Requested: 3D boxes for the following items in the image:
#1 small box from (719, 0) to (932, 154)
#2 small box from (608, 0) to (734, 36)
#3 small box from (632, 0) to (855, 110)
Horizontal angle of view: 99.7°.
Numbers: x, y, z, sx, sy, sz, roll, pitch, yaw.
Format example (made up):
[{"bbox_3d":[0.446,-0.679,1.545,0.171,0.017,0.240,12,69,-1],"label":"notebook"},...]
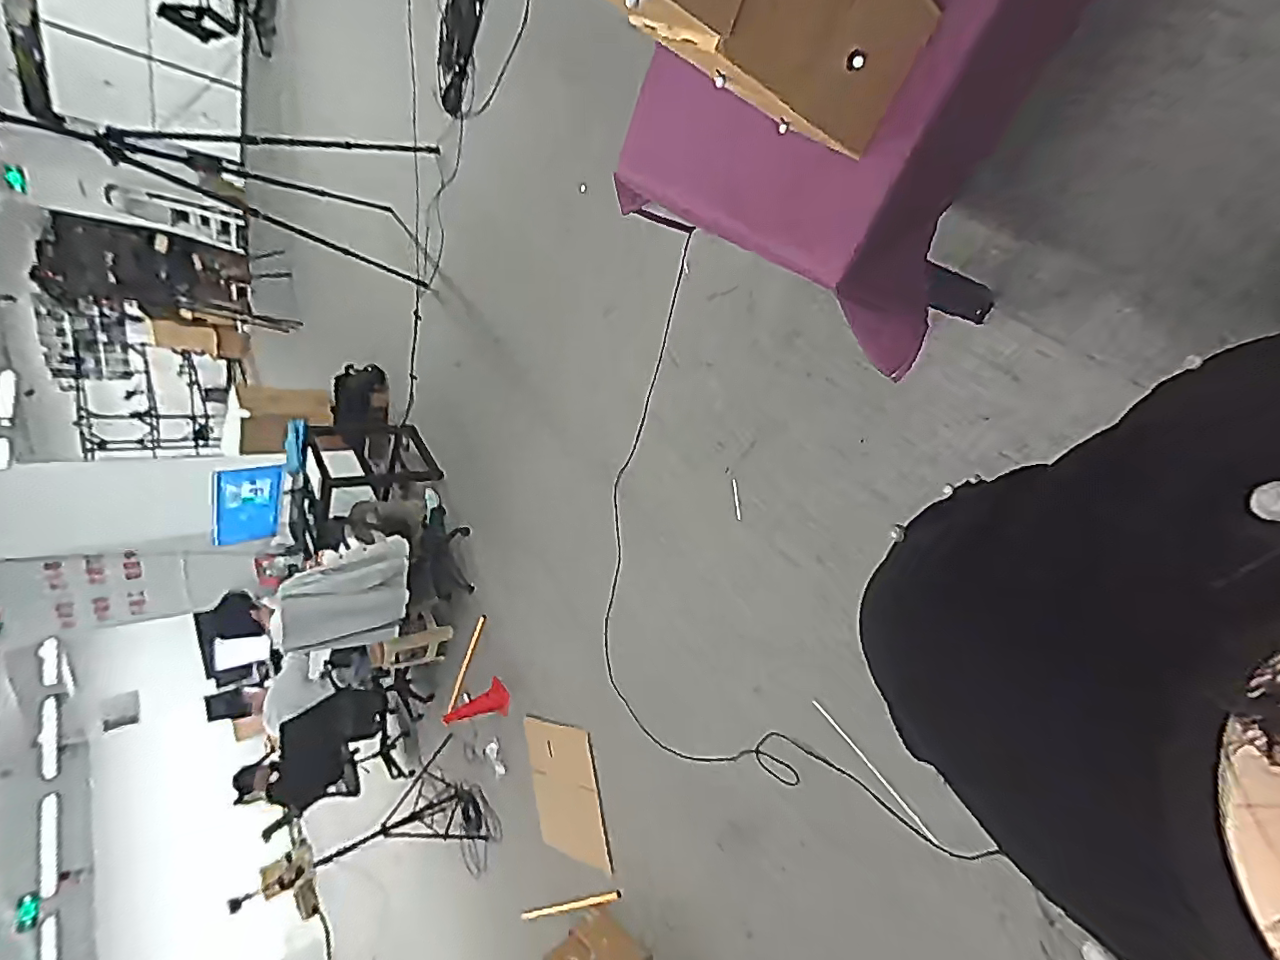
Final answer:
[{"bbox_3d":[0.245,-0.568,0.716,0.168,0.176,0.179,49,127,31],"label":"small box"},{"bbox_3d":[0.010,-0.544,0.490,0.179,0.176,0.168,48,127,33],"label":"small box"},{"bbox_3d":[0.127,-0.558,0.604,0.168,0.176,0.179,49,129,32],"label":"small box"}]
